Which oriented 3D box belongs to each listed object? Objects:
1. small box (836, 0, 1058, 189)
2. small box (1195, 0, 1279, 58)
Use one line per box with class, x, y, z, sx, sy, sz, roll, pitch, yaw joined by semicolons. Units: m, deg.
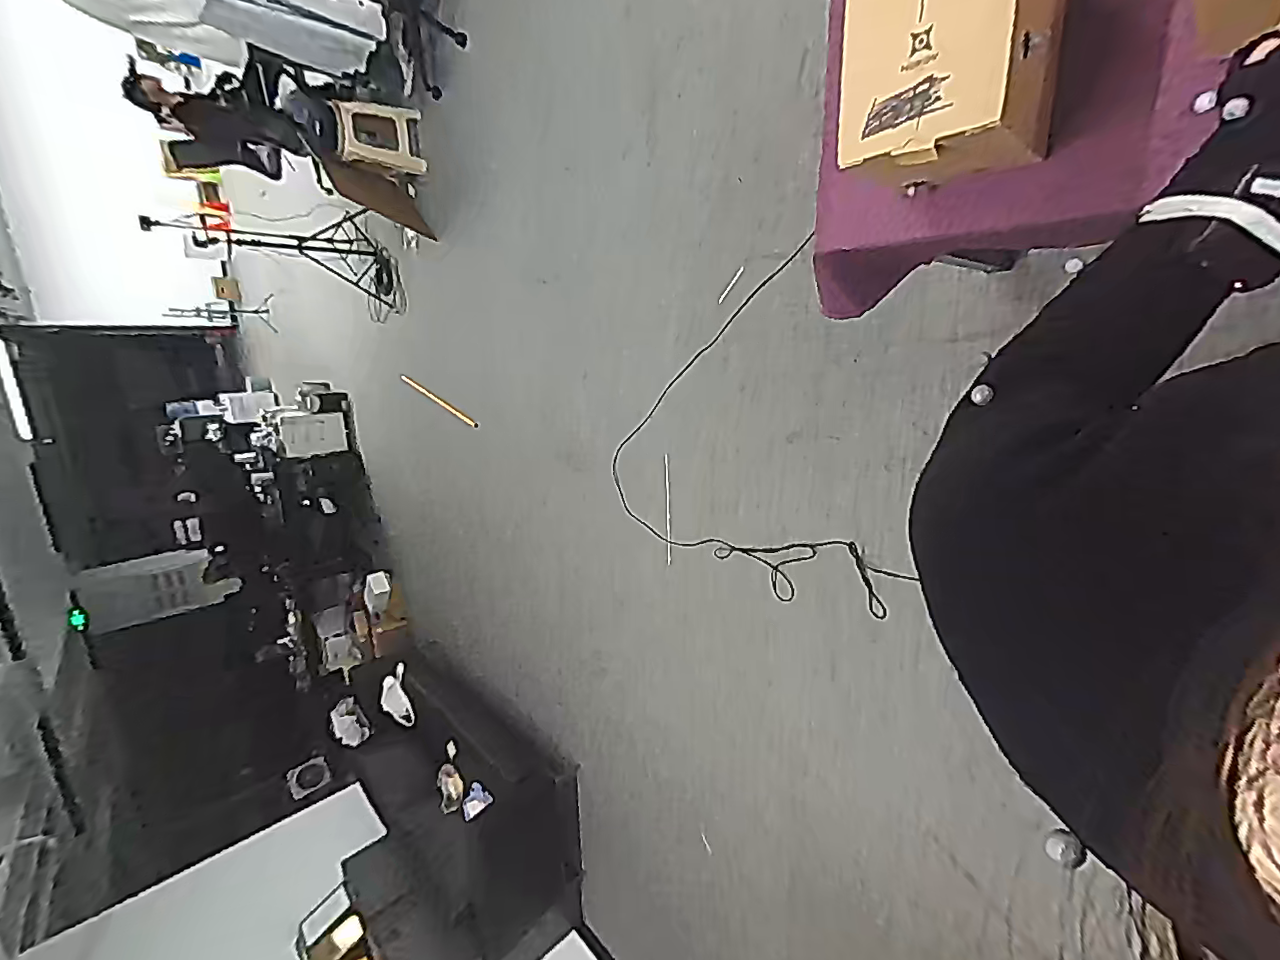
small box;0.340;-0.443;0.603;0.168;0.176;0.179;13;108;45
small box;0.536;-0.442;0.383;0.168;0.176;0.179;28;119;42
